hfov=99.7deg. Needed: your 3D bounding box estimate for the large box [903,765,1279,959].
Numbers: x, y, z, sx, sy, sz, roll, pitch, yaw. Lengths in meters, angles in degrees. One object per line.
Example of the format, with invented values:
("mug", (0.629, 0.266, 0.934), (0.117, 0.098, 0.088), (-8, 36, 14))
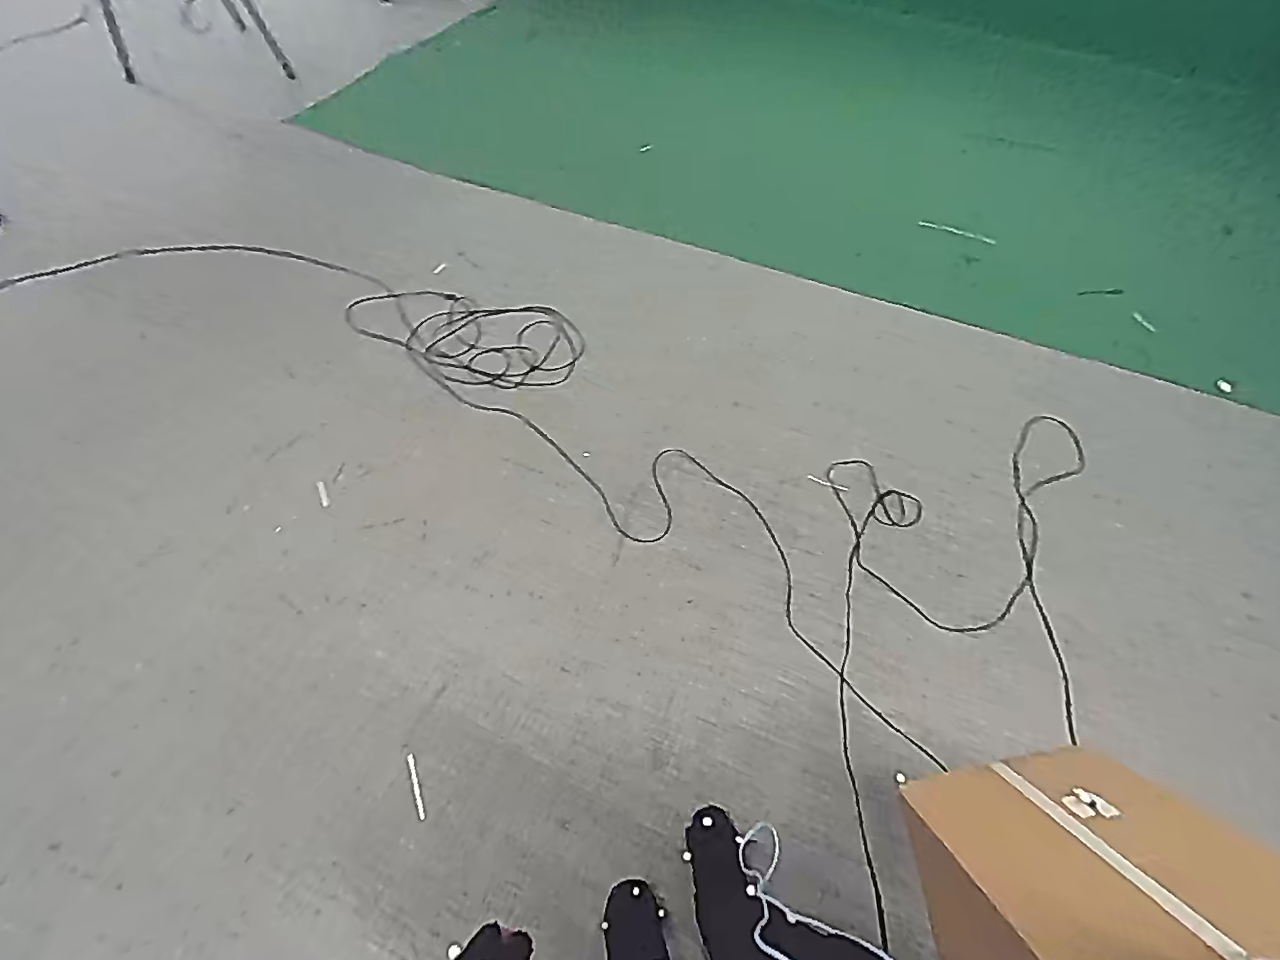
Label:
("large box", (0.593, 0.622, 0.655), (0.320, 0.408, 0.320), (-11, 88, 1))
